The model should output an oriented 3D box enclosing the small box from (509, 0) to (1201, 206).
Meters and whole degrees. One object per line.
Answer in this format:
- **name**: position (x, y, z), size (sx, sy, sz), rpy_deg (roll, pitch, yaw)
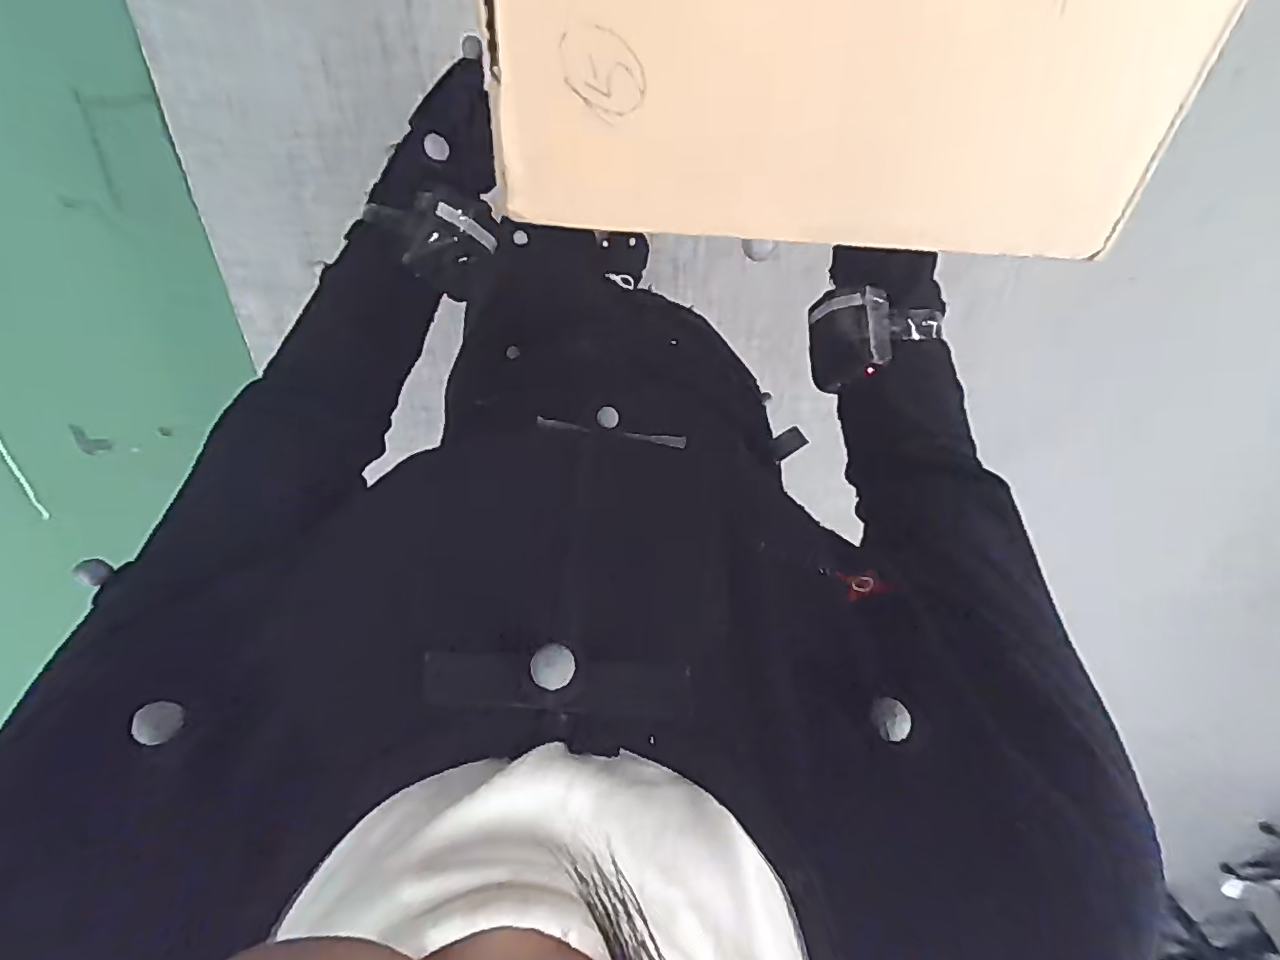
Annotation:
- **small box**: position (0.054, -0.198, 0.176), size (0.179, 0.176, 0.168), rpy_deg (0, 127, -4)
